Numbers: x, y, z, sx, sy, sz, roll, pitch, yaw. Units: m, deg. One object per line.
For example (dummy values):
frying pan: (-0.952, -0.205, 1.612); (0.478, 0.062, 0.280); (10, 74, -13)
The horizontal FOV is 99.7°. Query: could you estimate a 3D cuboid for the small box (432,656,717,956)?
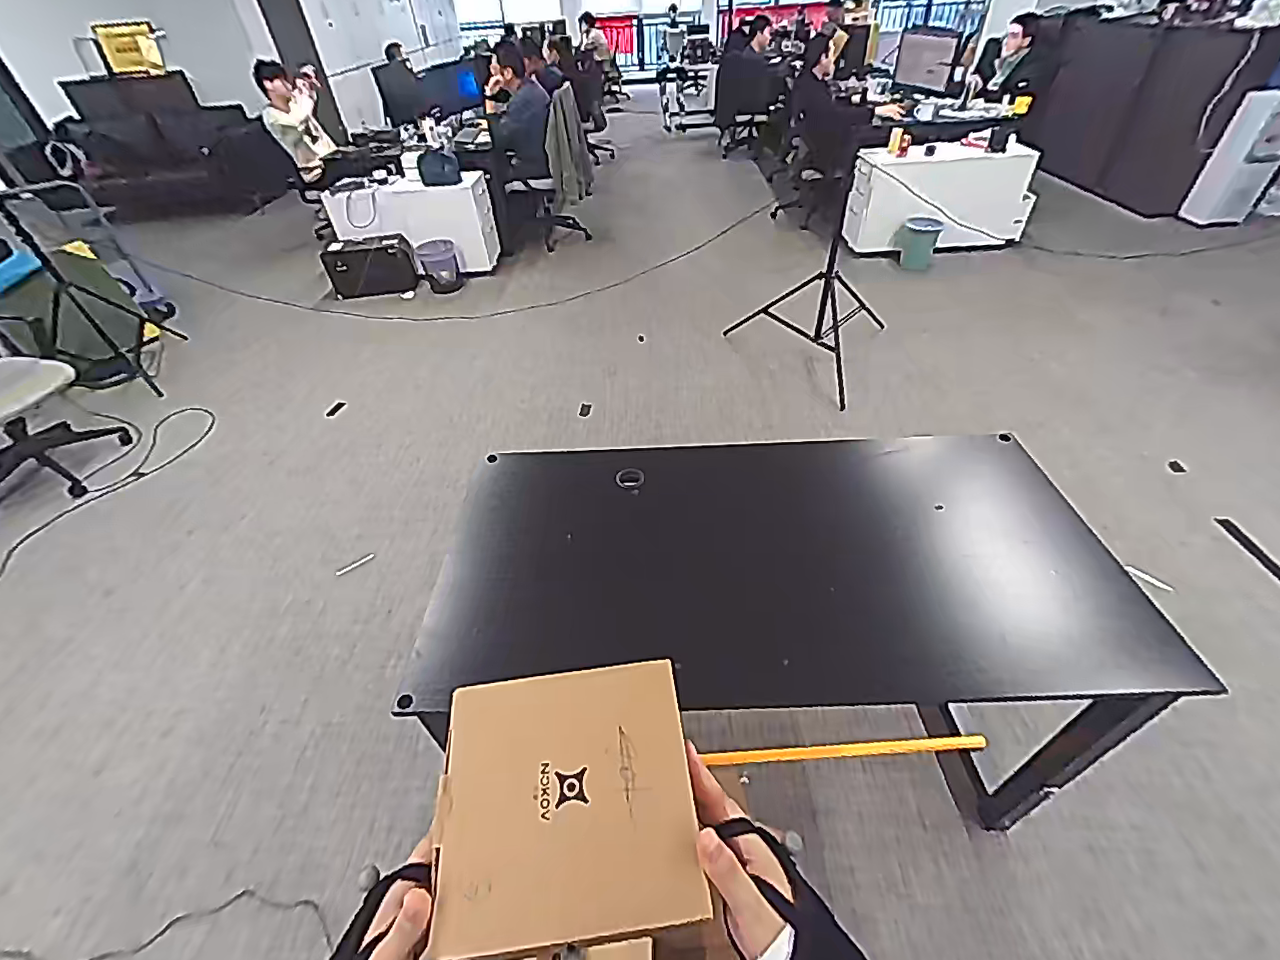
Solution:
small box: (-0.044, 0.263, 0.433); (0.179, 0.176, 0.168); (-6, 50, -4)
